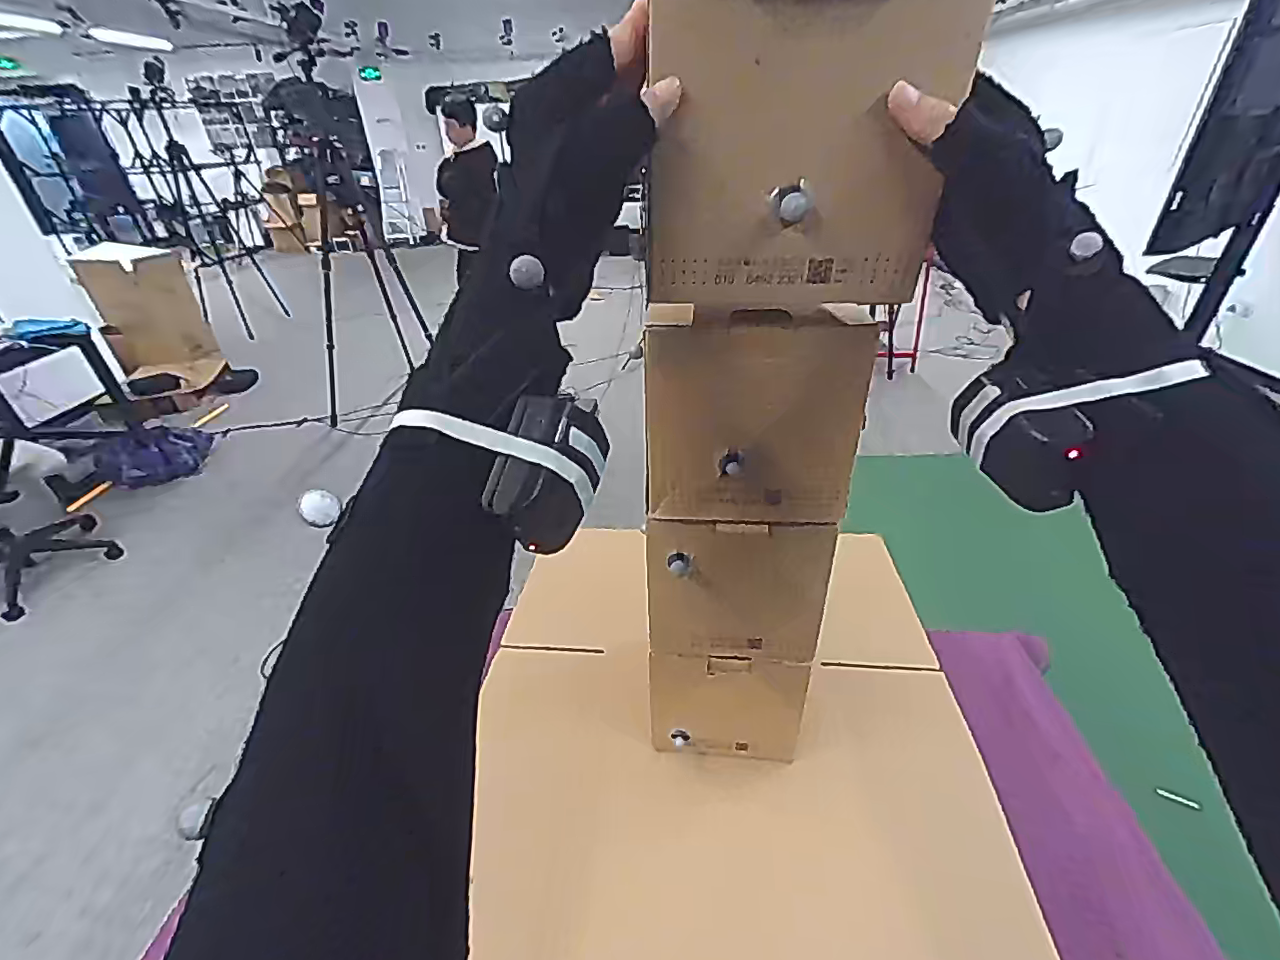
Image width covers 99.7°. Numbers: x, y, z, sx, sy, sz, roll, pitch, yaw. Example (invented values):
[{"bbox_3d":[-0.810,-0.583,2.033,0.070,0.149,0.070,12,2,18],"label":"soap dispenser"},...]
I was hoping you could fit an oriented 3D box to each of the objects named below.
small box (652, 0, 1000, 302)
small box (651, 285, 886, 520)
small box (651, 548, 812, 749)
[{"bbox_3d":[0.092,-0.229,0.361,0.168,0.176,0.179,0,35,2],"label":"small box"},{"bbox_3d":[0.096,-0.082,0.489,0.168,0.176,0.179,0,31,4],"label":"small box"},{"bbox_3d":[0.101,0.202,0.655,0.168,0.176,0.179,0,33,3],"label":"small box"}]
